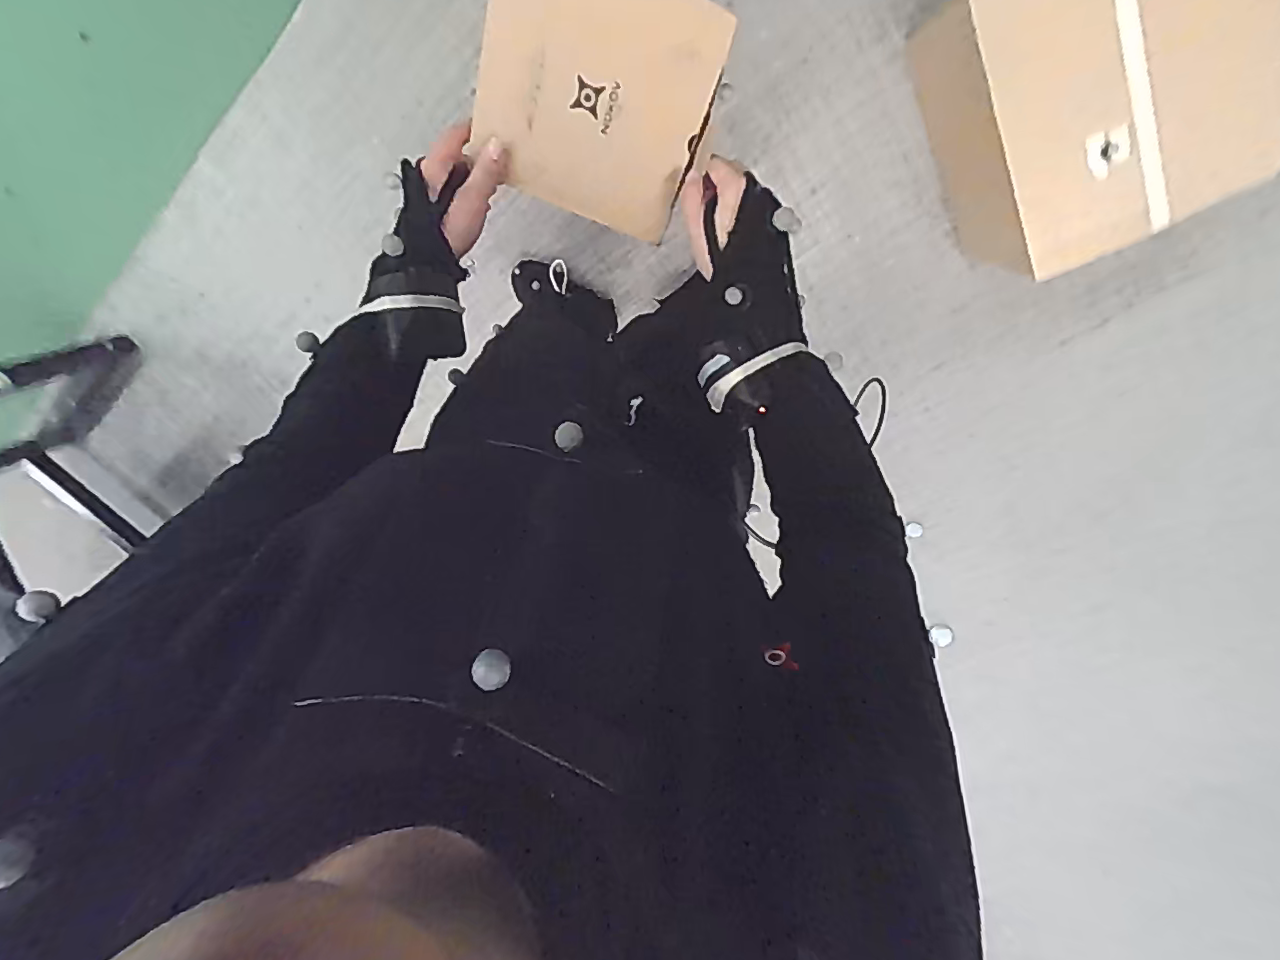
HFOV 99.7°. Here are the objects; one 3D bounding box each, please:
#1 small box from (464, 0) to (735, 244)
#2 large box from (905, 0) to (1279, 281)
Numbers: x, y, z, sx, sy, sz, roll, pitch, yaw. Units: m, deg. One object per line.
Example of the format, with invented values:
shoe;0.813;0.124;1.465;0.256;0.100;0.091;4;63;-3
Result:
small box;-0.032;-0.338;0.473;0.179;0.176;0.168;18;128;-7
large box;0.663;-0.587;0.831;0.320;0.320;0.408;-23;114;21
